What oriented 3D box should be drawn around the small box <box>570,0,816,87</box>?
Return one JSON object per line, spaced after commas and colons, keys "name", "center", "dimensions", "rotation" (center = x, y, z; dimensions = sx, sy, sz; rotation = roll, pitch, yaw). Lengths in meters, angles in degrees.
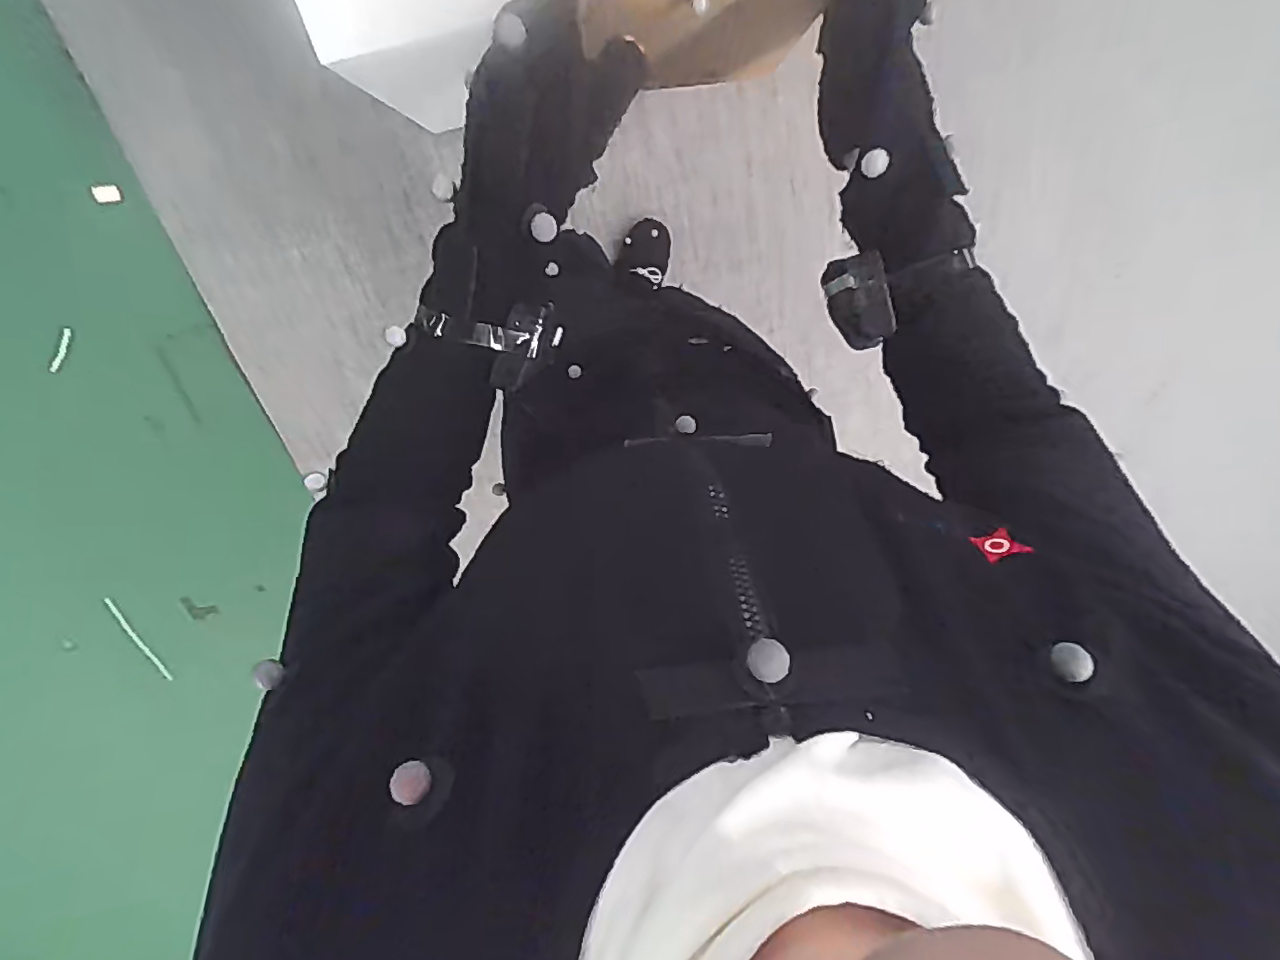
{"name": "small box", "center": [0.029, -0.406, 0.364], "dimensions": [0.168, 0.176, 0.179], "rotation": [-9, 106, -5]}
